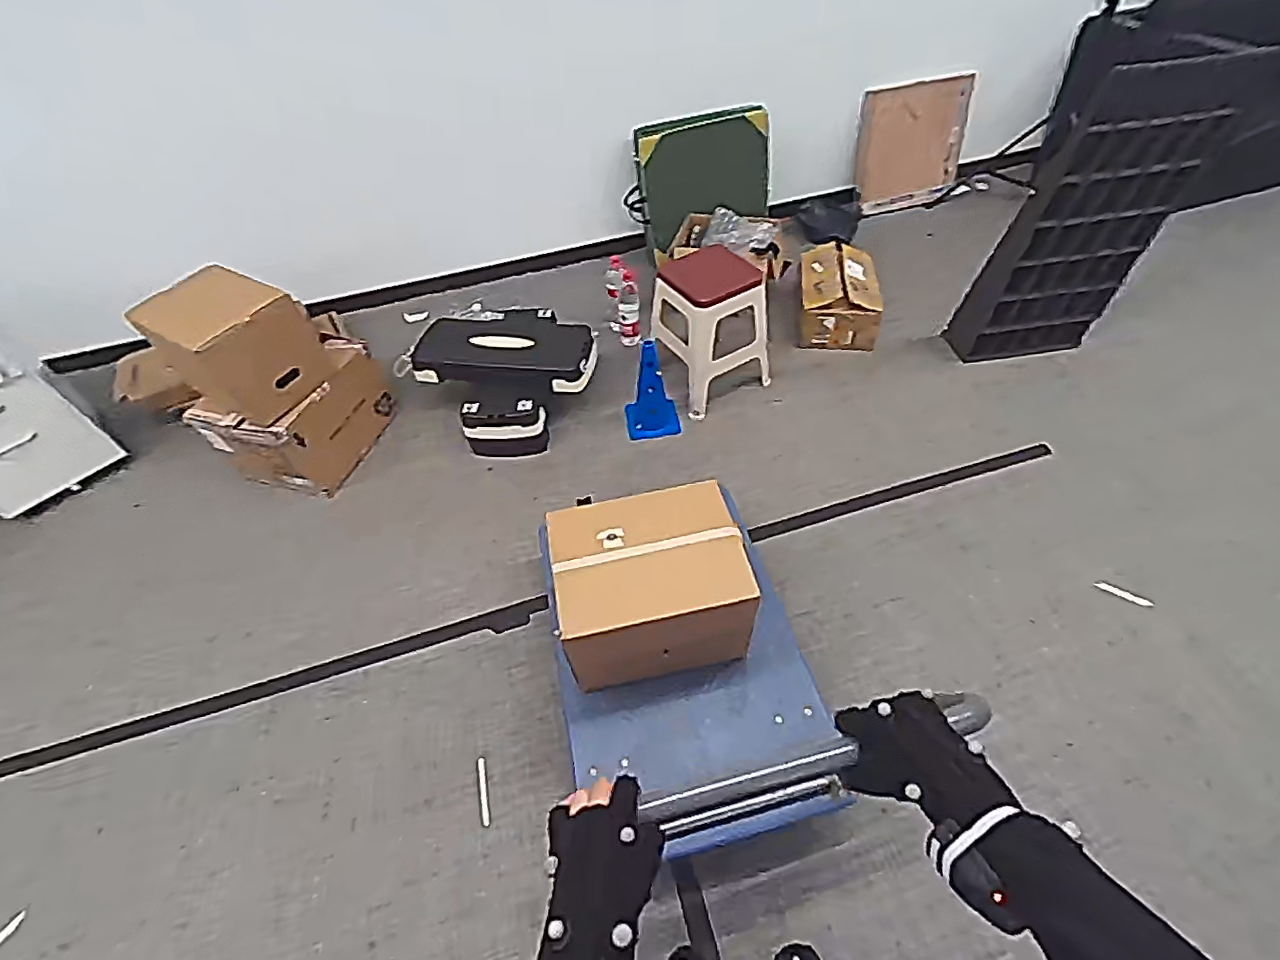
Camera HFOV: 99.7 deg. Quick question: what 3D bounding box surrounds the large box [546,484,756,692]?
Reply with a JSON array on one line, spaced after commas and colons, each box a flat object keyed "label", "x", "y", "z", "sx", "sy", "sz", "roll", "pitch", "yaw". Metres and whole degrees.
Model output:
[{"label": "large box", "x": 0.021, "y": 0.258, "z": 1.272, "sx": 0.408, "sy": 0.320, "sz": 0.320, "roll": -12, "pitch": 50, "yaw": -4}]
